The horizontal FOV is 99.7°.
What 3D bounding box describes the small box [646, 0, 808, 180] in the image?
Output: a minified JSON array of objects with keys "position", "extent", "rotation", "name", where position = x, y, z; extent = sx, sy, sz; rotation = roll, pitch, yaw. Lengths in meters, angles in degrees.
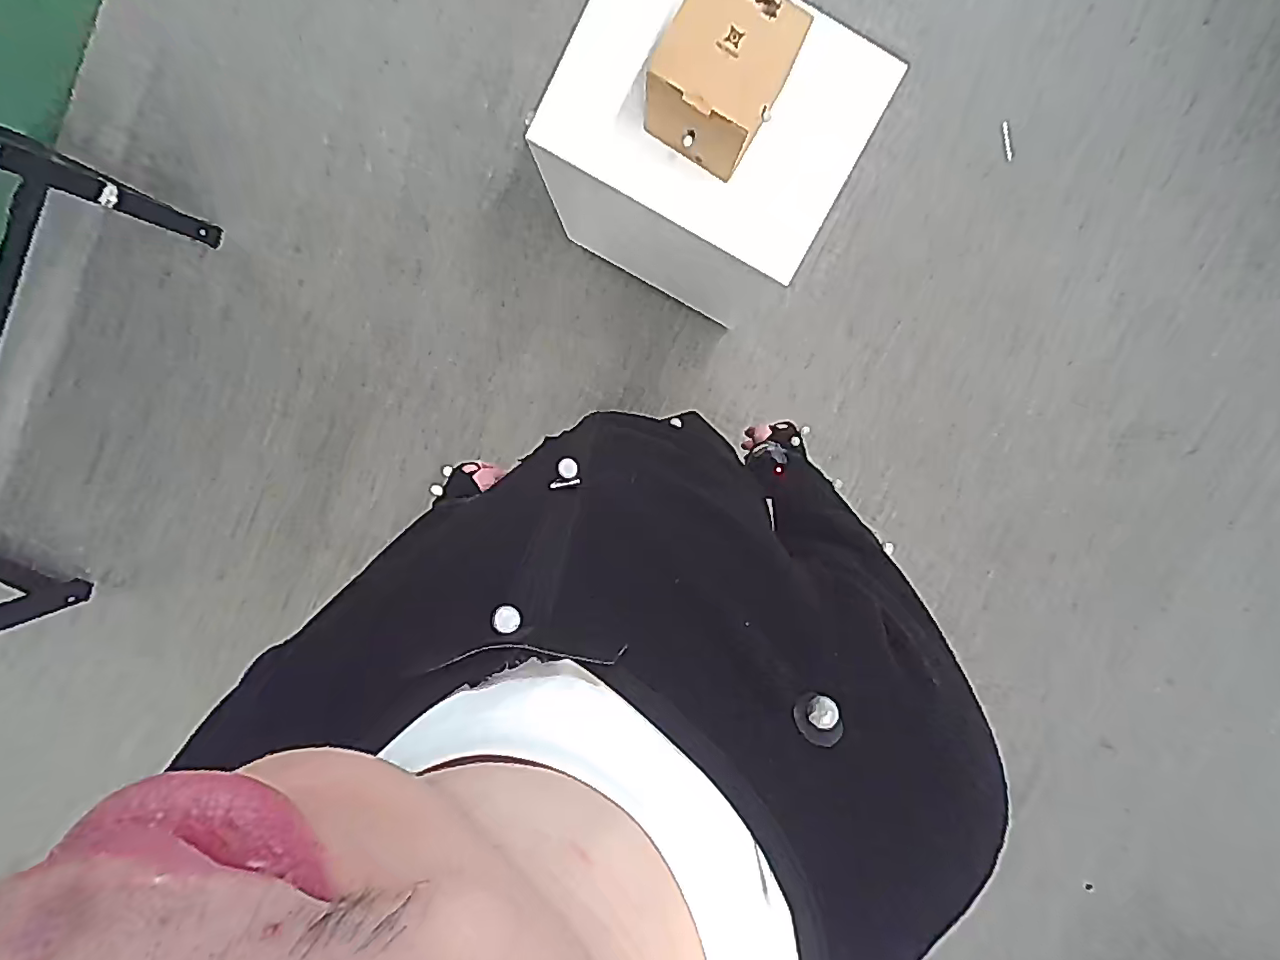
[{"position":[0.120,-0.599,0.820],"extent":[0.168,0.176,0.179],"rotation":[28,96,-4],"name":"small box"}]
